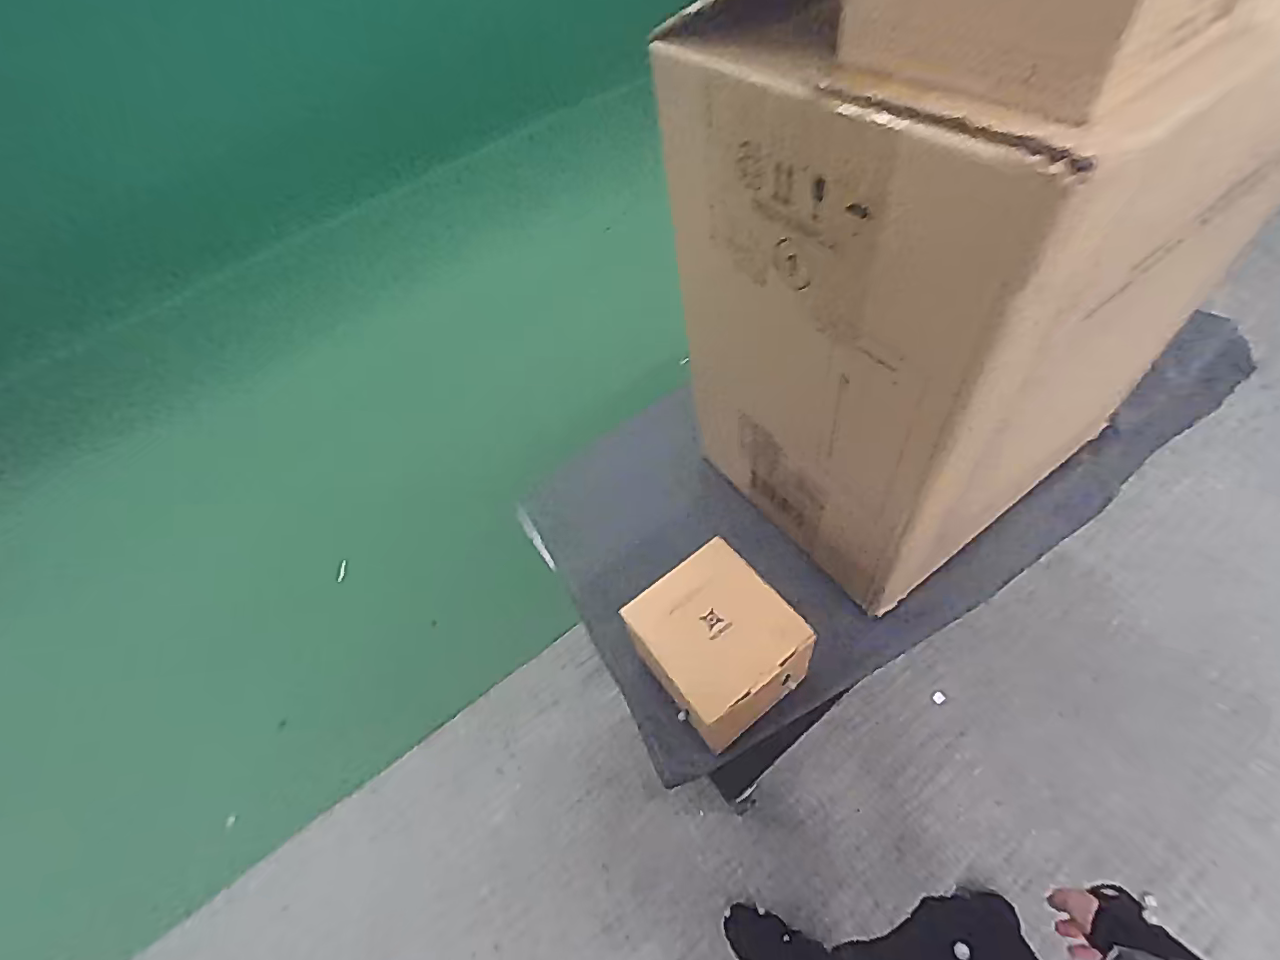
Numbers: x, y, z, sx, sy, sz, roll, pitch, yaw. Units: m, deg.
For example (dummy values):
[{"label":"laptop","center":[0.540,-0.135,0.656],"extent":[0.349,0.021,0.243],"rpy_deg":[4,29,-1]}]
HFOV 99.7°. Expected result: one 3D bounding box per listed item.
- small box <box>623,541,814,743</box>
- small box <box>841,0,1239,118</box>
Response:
[{"label":"small box","center":[0.104,0.221,0.719],"extent":[0.168,0.176,0.179],"rpy_deg":[-35,54,-16]},{"label":"small box","center":[0.237,-0.335,0.300],"extent":[0.168,0.176,0.179],"rpy_deg":[-34,56,-12]}]
